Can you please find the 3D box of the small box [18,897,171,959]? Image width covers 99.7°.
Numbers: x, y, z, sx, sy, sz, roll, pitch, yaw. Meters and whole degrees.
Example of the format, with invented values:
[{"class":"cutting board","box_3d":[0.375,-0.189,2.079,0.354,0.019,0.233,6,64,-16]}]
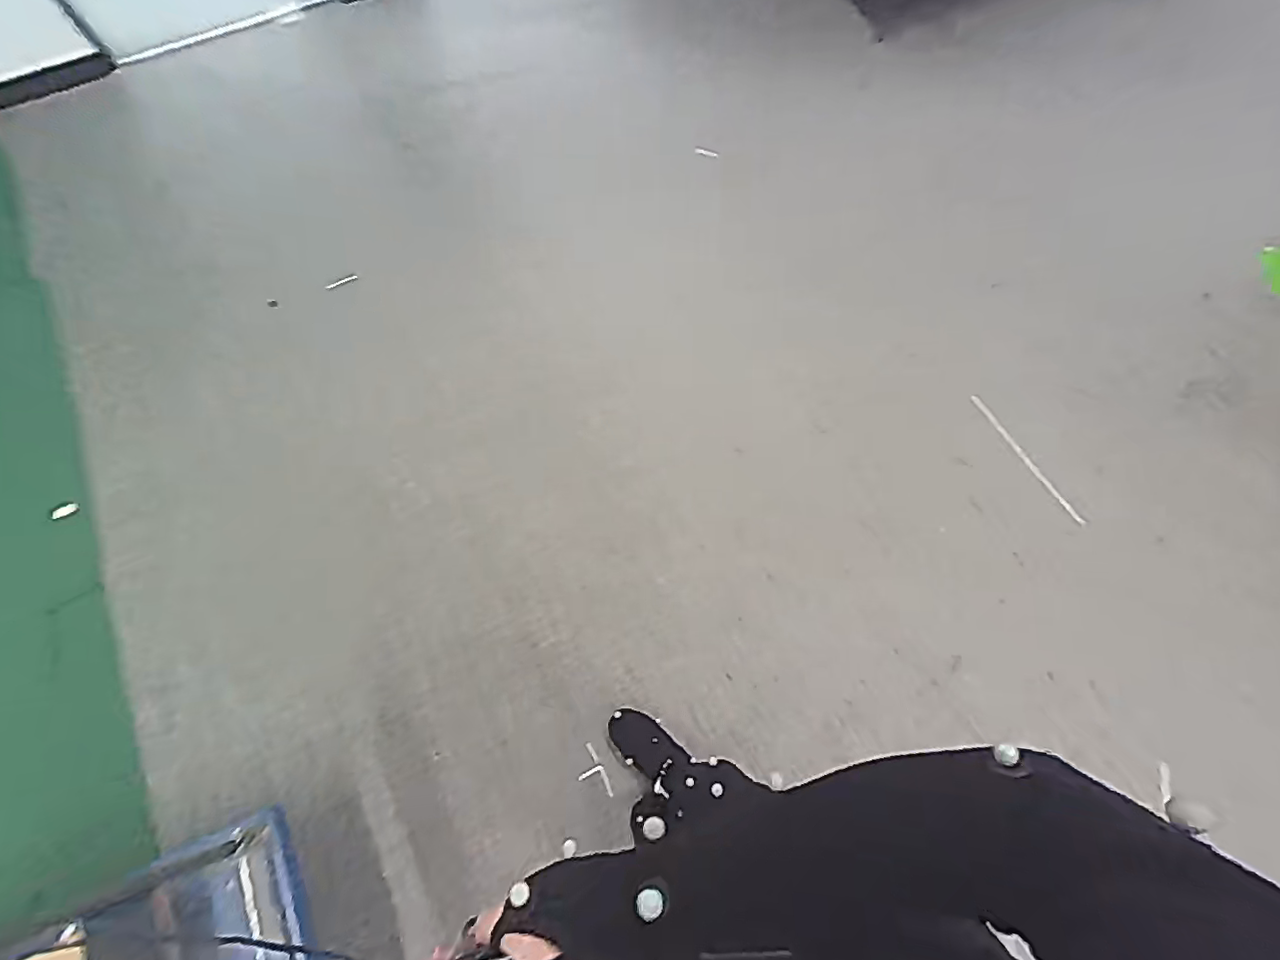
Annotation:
[{"class":"small box","box_3d":[-1.010,0.912,0.982,0.179,0.176,0.168,-22,72,-10]}]
